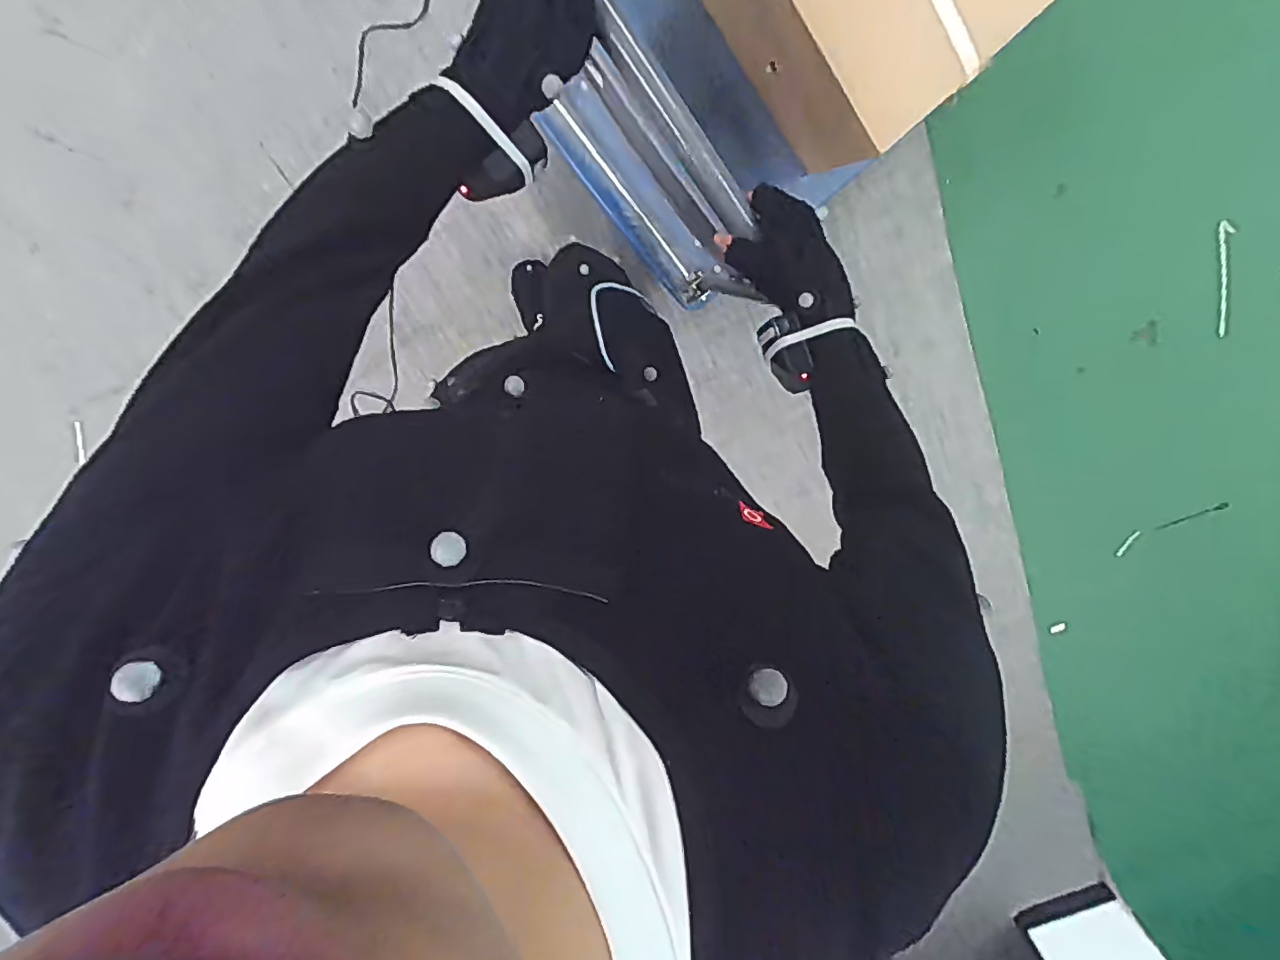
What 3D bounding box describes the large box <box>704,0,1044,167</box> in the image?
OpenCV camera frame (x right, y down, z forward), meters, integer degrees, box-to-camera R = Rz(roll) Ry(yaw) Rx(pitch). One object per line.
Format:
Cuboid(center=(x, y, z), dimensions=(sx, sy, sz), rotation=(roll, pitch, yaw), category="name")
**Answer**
Cuboid(center=(0.341, -0.793, 0.862), dimensions=(0.320, 0.320, 0.408), rotation=(-40, 111, 13), category="large box")
